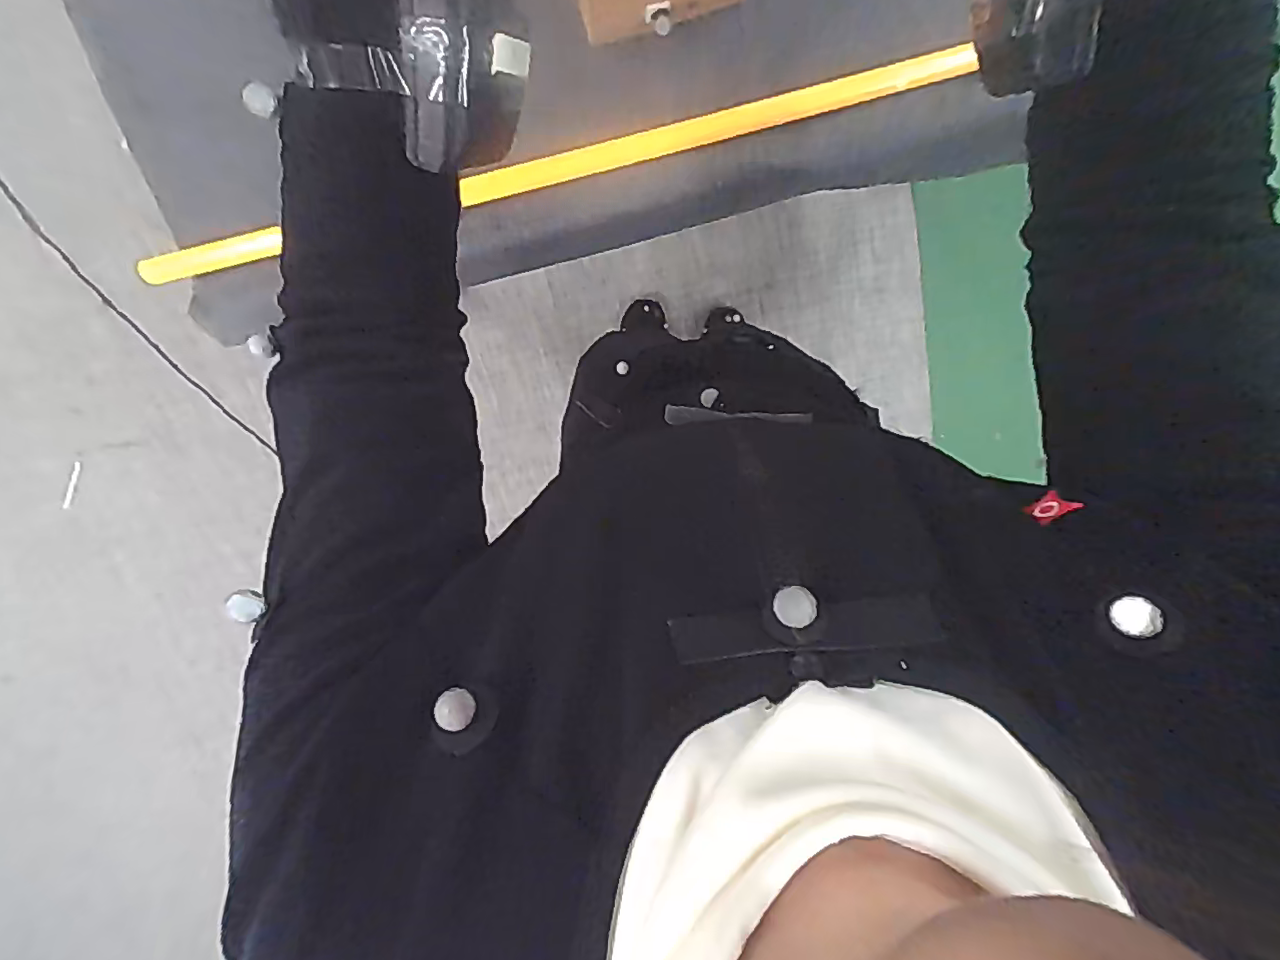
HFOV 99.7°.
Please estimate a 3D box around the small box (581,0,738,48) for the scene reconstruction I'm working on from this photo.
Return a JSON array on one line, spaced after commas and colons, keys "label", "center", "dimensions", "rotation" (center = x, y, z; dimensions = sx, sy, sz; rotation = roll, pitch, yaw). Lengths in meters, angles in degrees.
[{"label": "small box", "center": [0.008, -0.525, 0.460], "dimensions": [0.168, 0.176, 0.179], "rotation": [-16, 108, 4]}]
